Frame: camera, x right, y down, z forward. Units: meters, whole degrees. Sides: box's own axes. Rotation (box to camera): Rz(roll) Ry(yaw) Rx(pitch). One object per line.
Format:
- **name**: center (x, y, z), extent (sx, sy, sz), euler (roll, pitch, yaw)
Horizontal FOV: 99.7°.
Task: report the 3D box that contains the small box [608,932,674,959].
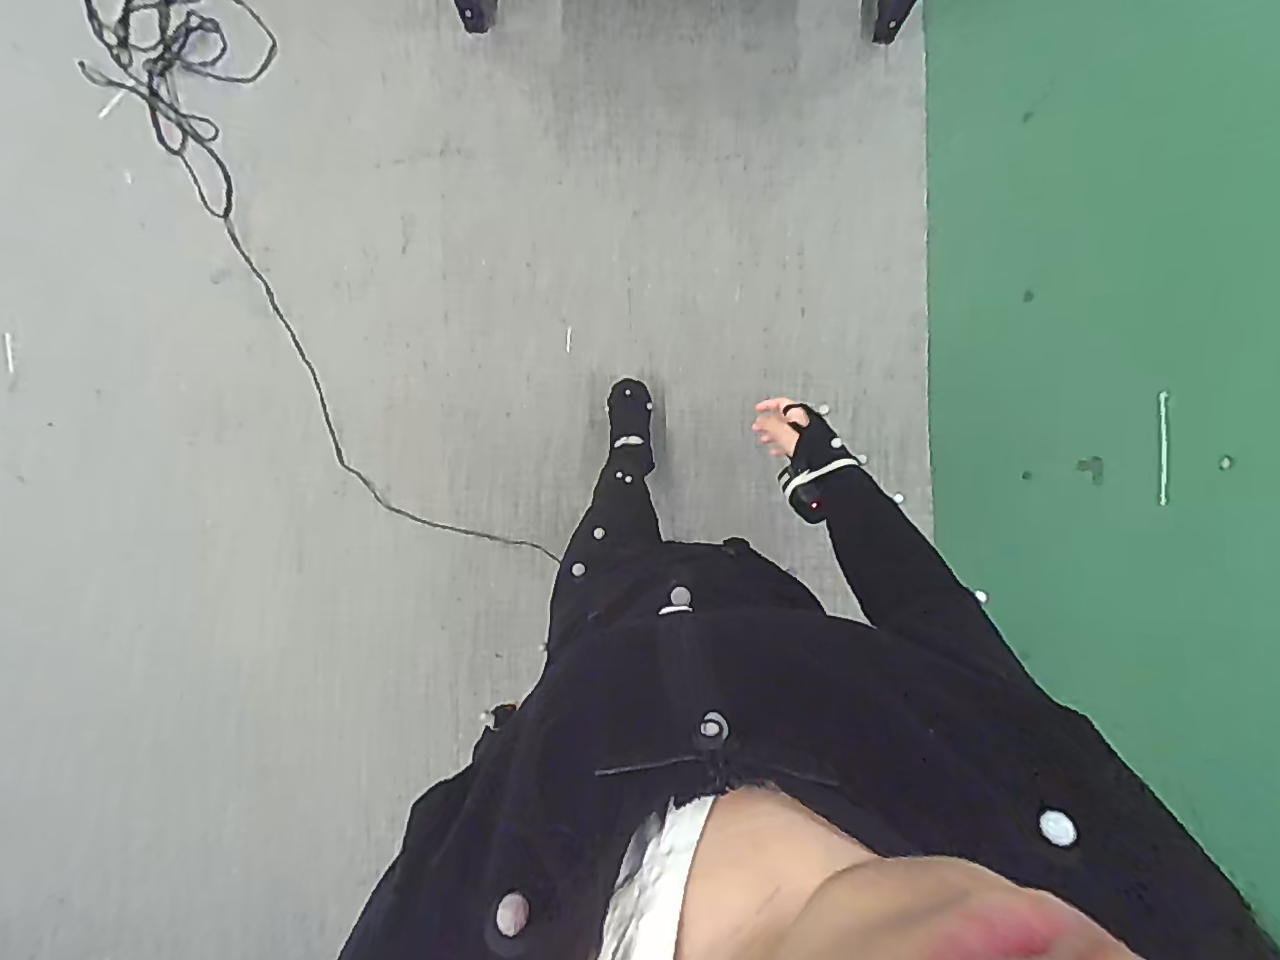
- **small box**: center (-0.004, 1.332, 1.413), extent (0.179, 0.176, 0.168), euler (4, 90, -1)
